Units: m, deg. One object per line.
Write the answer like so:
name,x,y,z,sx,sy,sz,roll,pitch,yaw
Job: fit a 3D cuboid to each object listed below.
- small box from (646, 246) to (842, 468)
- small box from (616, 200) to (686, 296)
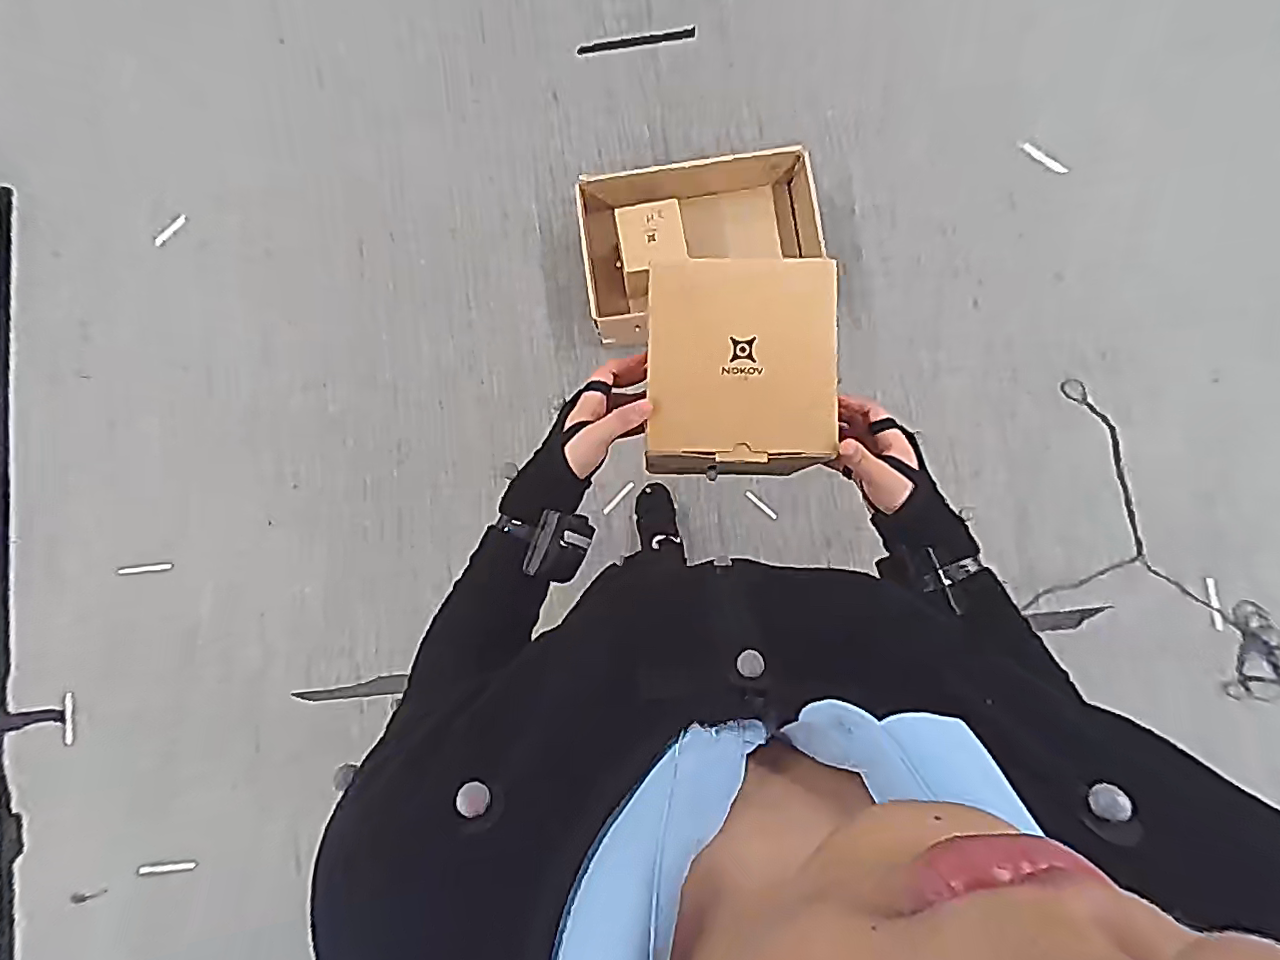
small box,0.091,-0.109,0.542,0.168,0.176,0.179,1,86,1
small box,0.033,-0.609,1.447,0.168,0.176,0.179,-9,84,0
